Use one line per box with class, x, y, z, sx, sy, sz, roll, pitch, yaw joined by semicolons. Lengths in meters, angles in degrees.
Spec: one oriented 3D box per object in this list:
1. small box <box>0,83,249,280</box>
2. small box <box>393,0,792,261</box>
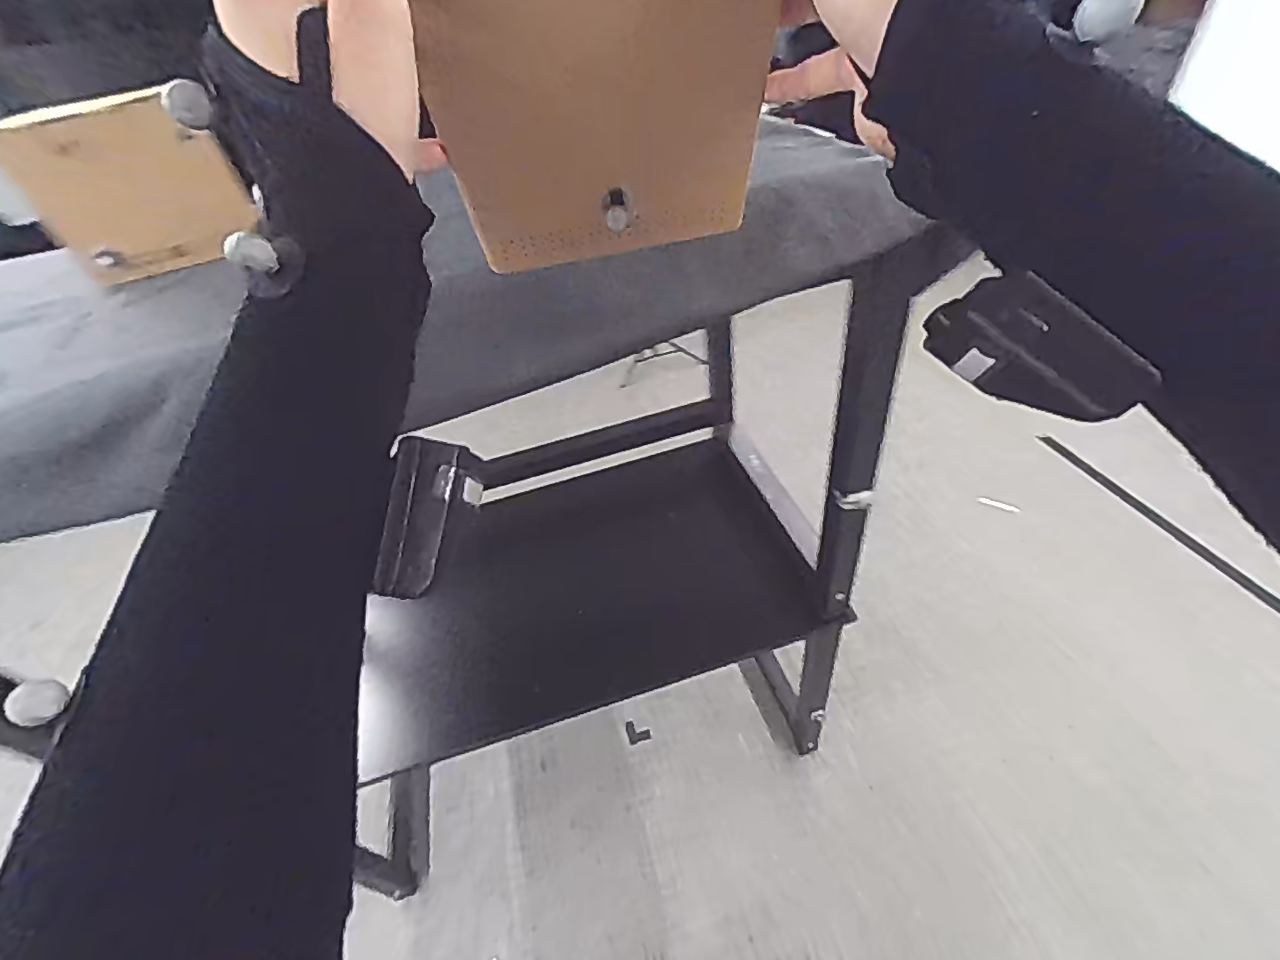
small box;-0.633;-0.369;0.676;0.168;0.176;0.179;-19;44;-9
small box;-0.030;-0.259;0.316;0.179;0.176;0.168;-11;70;-2
